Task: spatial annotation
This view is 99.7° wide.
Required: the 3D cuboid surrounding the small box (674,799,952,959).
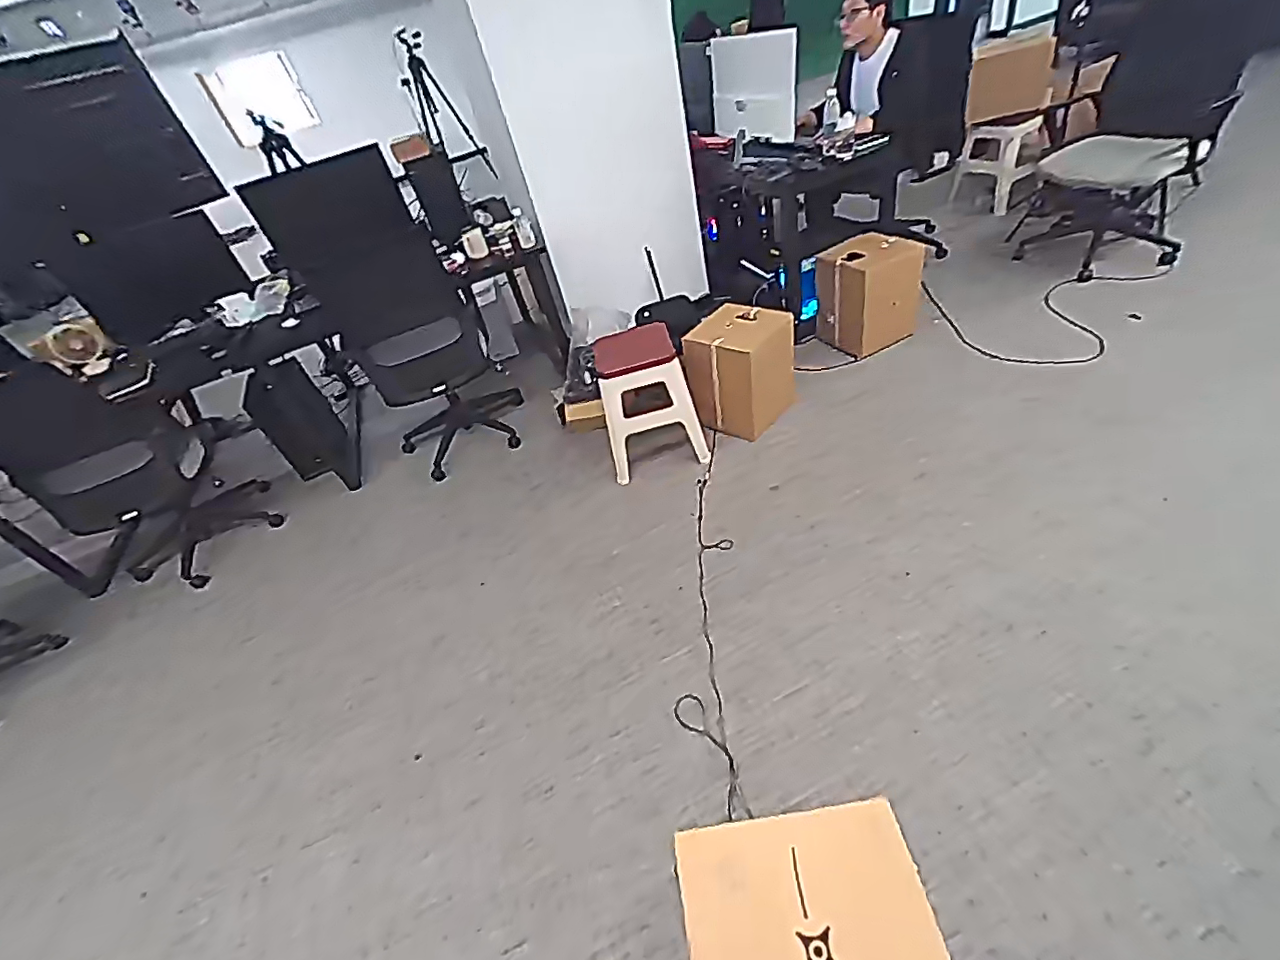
[{"bbox_3d":[0.118,0.359,0.393,0.168,0.176,0.179,-6,44,0],"label":"small box"}]
